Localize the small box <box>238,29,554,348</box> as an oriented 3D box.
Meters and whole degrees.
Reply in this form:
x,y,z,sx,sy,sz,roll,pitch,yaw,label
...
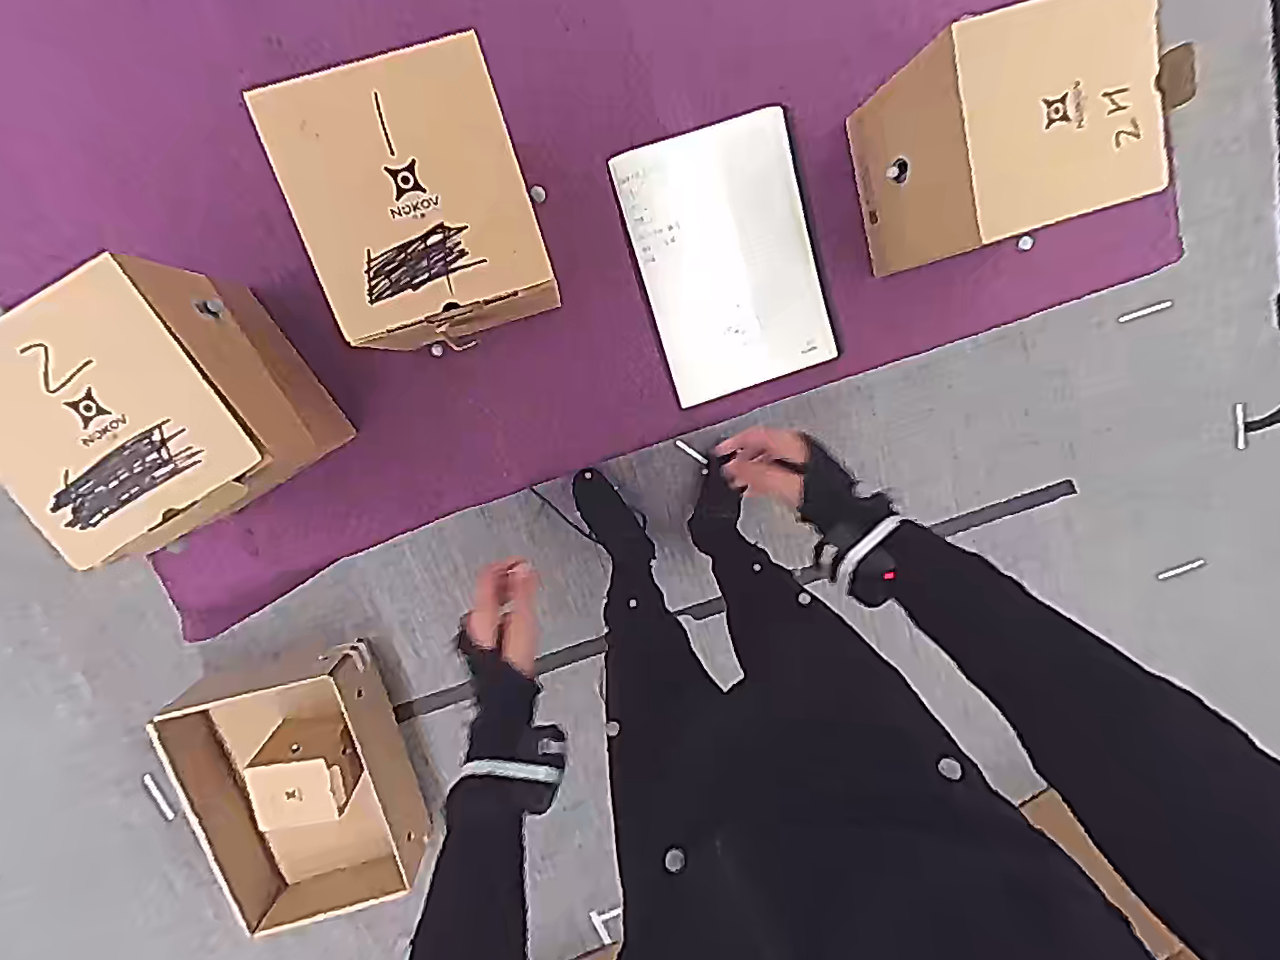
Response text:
x,y,z,sx,sy,sz,roll,pitch,yaw,label
-0.177,-0.219,0.461,0.168,0.176,0.179,-18,102,-3,small box

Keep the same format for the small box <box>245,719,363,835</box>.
x,y,z,sx,sy,sz,roll,pitch,yaw,label
-0.774,0.687,1.271,0.179,0.176,0.168,-5,102,-6,small box

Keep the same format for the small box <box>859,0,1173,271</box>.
x,y,z,sx,sy,sz,roll,pitch,yaw,label
0.327,-0.310,0.504,0.179,0.176,0.168,-17,103,-3,small box
